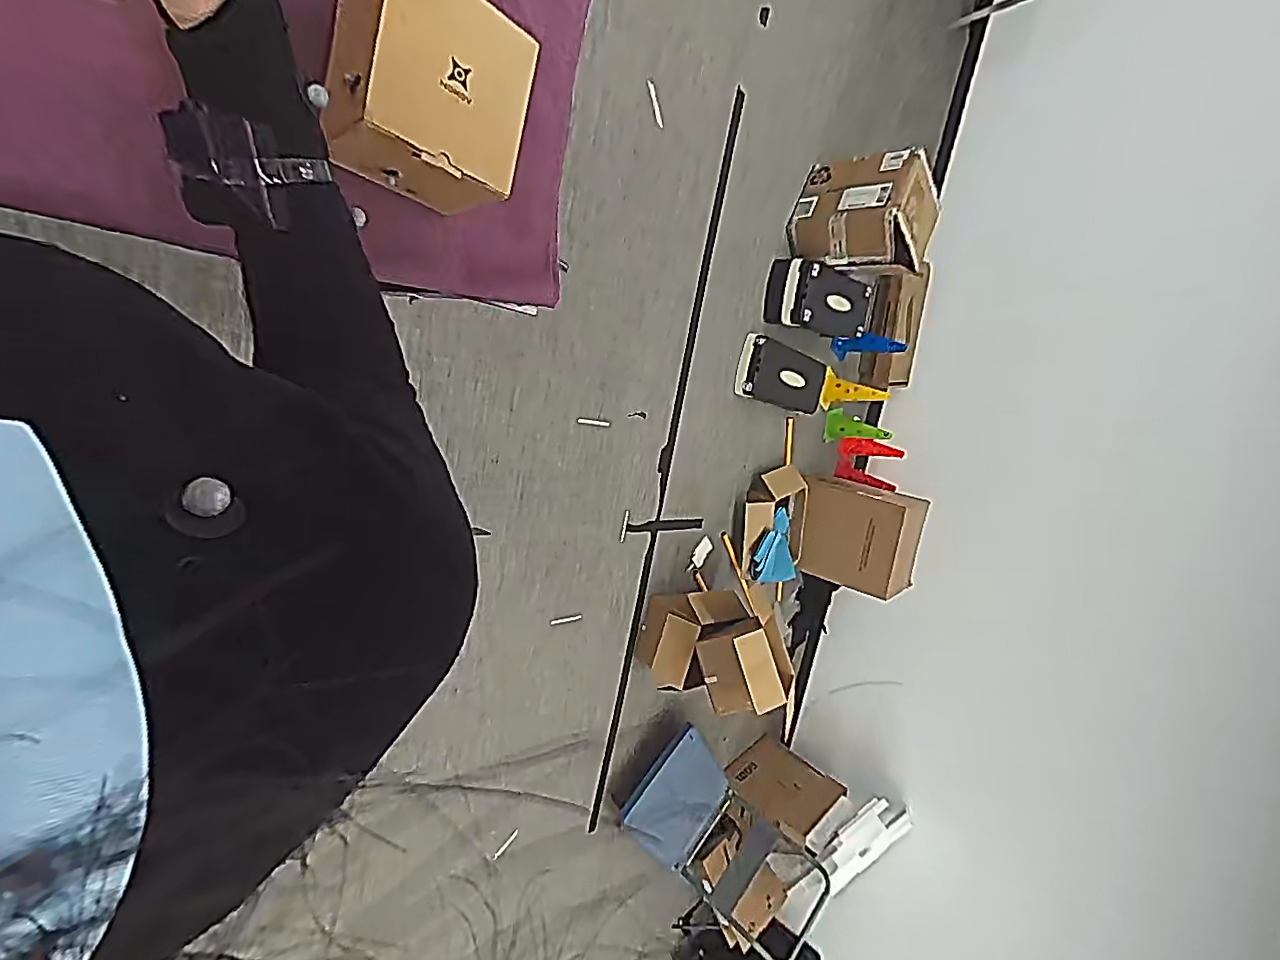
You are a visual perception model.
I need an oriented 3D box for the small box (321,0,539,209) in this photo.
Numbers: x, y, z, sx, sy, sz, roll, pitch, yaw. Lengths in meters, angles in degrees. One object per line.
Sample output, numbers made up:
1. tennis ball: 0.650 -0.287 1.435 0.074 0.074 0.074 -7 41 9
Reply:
1. small box: -0.246 -0.441 0.624 0.168 0.176 0.179 7 98 -47
